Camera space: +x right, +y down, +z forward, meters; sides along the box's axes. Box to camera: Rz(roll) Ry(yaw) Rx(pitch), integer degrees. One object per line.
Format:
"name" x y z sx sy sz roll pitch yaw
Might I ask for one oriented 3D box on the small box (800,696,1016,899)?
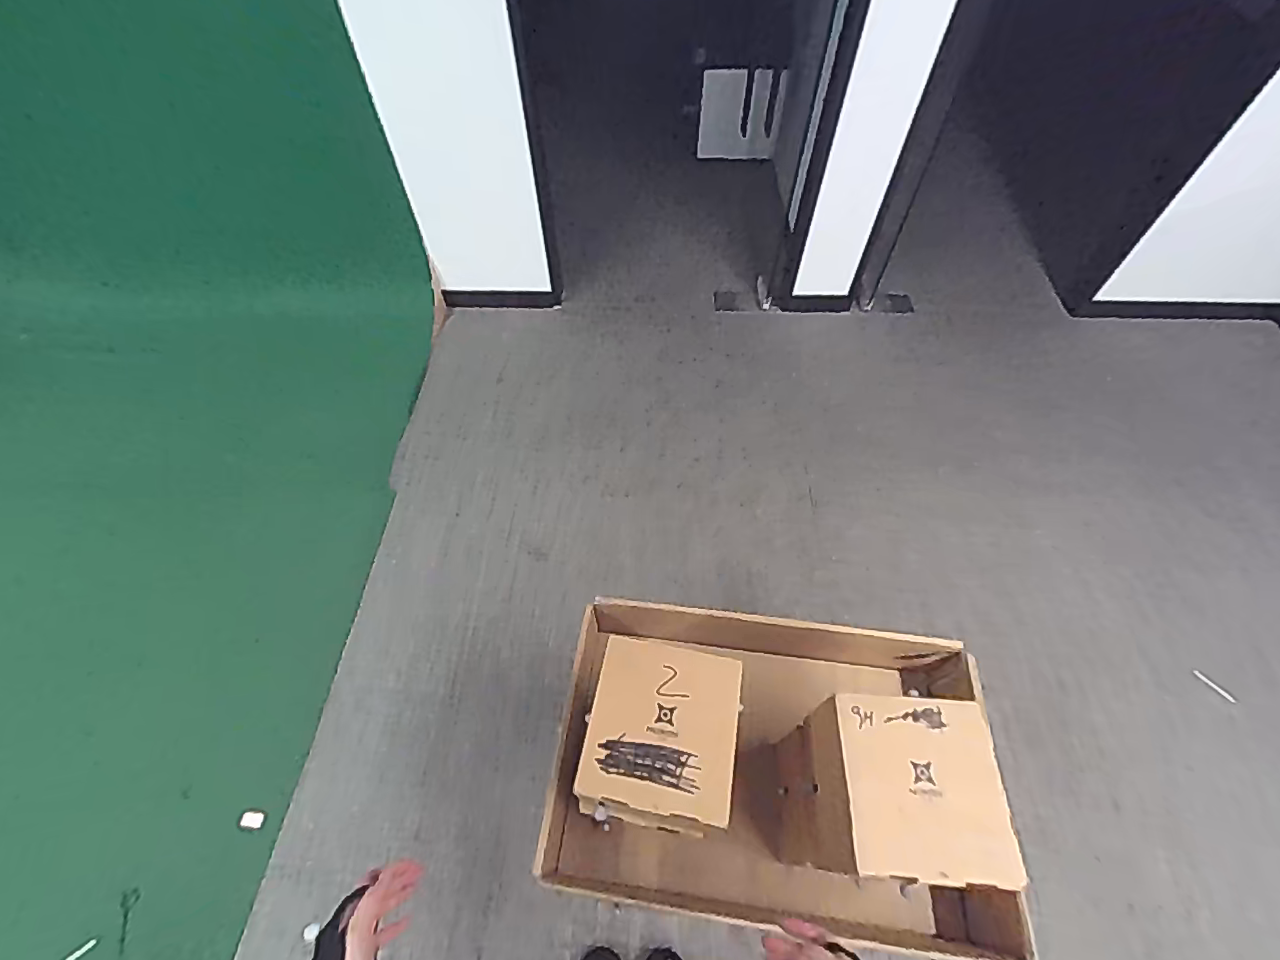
"small box" 0.296 0.372 0.643 0.168 0.176 0.179 5 57 3
